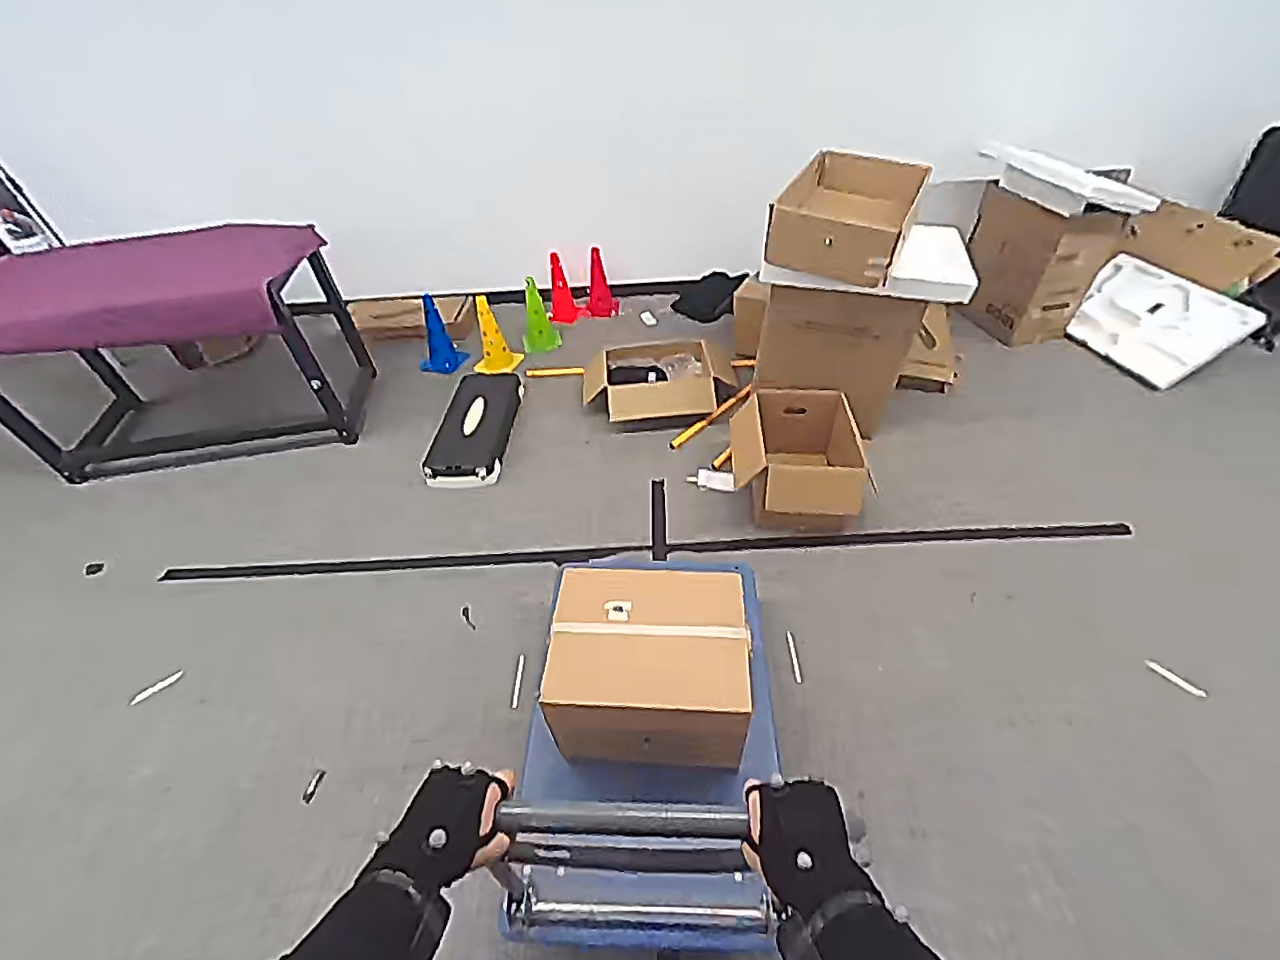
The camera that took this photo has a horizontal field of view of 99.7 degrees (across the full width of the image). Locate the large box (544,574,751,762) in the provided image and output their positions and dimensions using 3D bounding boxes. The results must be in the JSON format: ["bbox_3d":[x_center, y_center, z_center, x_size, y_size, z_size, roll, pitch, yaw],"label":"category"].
[{"bbox_3d":[0.028,0.429,1.236,0.408,0.320,0.320,0,44,5],"label":"large box"}]
